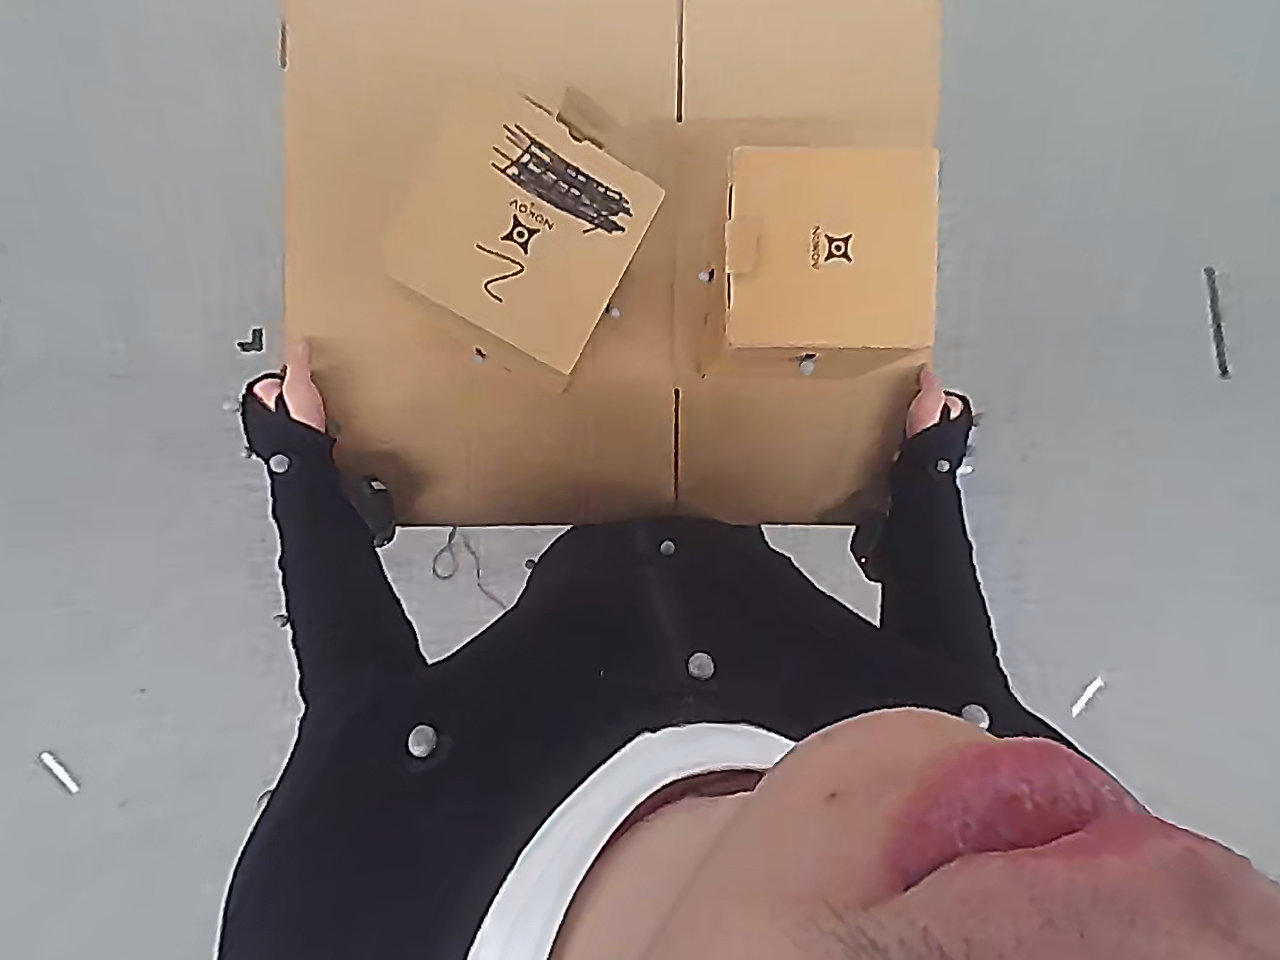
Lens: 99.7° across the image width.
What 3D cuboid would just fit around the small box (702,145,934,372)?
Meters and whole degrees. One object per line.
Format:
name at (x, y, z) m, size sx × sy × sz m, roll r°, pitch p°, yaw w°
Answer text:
small box at (0.163, -0.205, 0.545) m, size 0.179 × 0.176 × 0.168 m, roll 1°, pitch 92°, yaw 0°
